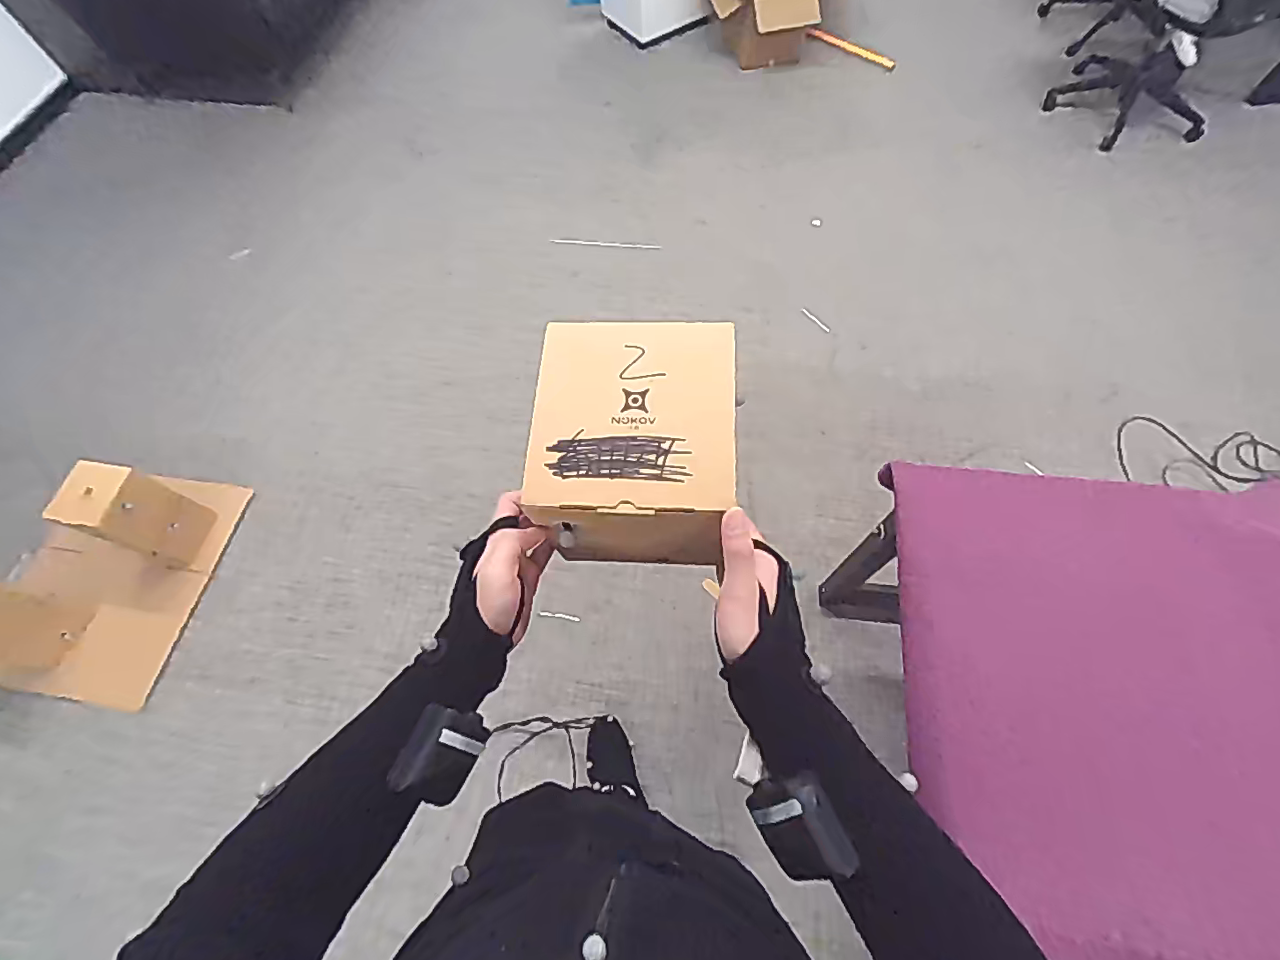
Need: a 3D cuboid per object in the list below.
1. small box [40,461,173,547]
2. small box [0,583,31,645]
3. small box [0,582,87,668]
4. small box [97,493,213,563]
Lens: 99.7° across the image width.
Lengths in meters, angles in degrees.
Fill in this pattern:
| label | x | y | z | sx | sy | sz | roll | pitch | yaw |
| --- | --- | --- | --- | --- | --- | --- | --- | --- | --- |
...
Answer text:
| label | x | y | z | sx | sy | sz | roll | pitch | yaw |
| --- | --- | --- | --- | --- | --- | --- | --- | --- | --- |
| small box | -1.465 | 0.071 | 1.504 | 0.168 | 0.176 | 0.179 | 8 | 66 | 5 |
| small box | -1.739 | 0.337 | 1.377 | 0.168 | 0.176 | 0.179 | 15 | 66 | 10 |
| small box | -1.740 | 0.412 | 1.526 | 0.168 | 0.176 | 0.179 | 15 | 65 | 10 |
| small box | -1.466 | 0.140 | 1.650 | 0.168 | 0.176 | 0.179 | 9 | 65 | 6 |
